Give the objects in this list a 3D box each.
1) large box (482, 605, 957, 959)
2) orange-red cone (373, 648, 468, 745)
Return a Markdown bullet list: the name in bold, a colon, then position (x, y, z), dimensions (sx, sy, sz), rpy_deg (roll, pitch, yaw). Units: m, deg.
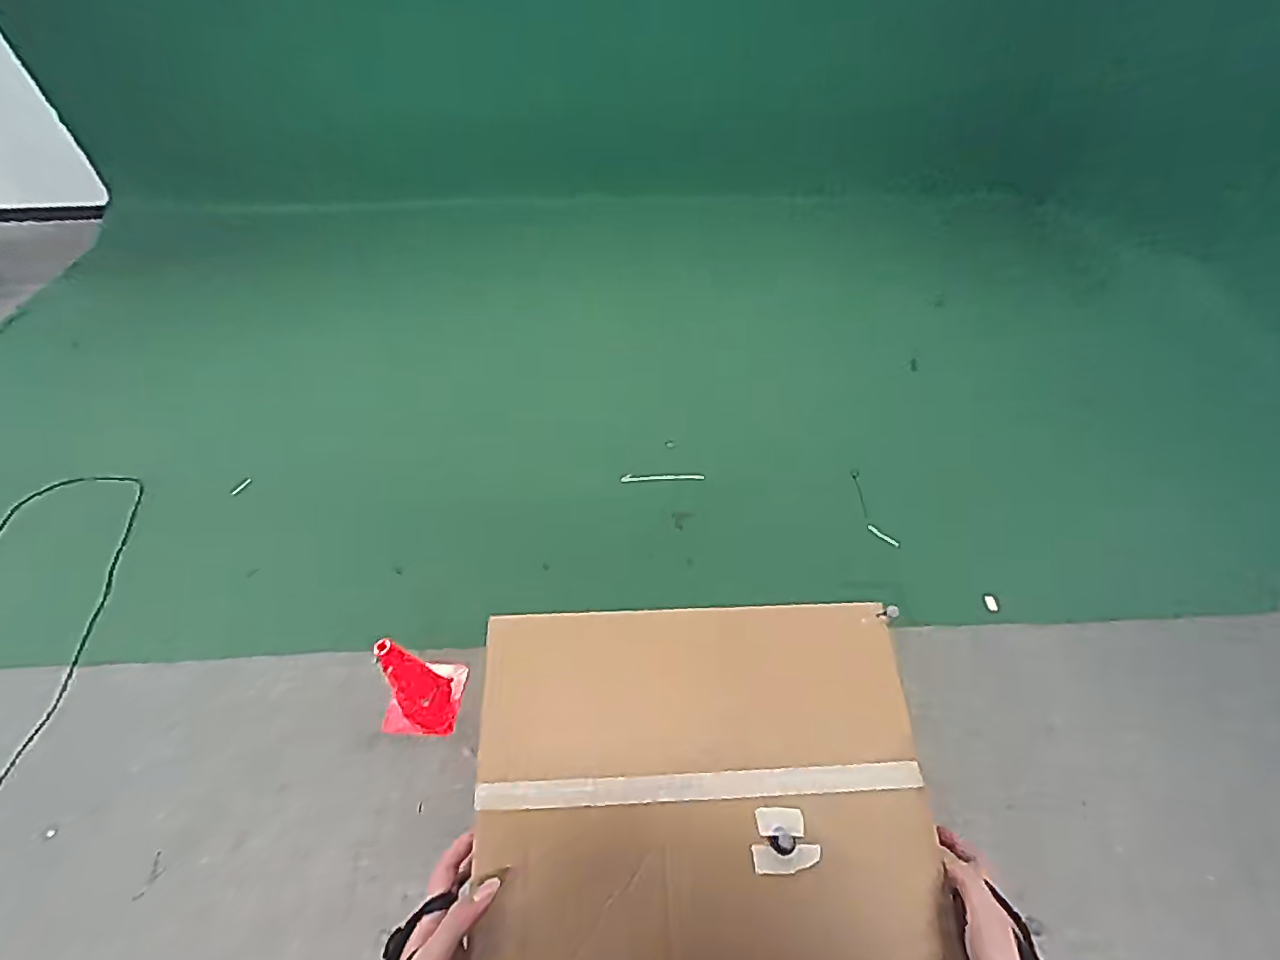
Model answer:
- **large box**: position (0.054, 0.344, 0.636), dimensions (0.408, 0.320, 0.320), rpy_deg (-2, 66, -3)
- **orange-red cone**: position (-0.613, 0.534, 1.414), dimensions (0.199, 0.360, 0.198), rpy_deg (2, 48, 4)
